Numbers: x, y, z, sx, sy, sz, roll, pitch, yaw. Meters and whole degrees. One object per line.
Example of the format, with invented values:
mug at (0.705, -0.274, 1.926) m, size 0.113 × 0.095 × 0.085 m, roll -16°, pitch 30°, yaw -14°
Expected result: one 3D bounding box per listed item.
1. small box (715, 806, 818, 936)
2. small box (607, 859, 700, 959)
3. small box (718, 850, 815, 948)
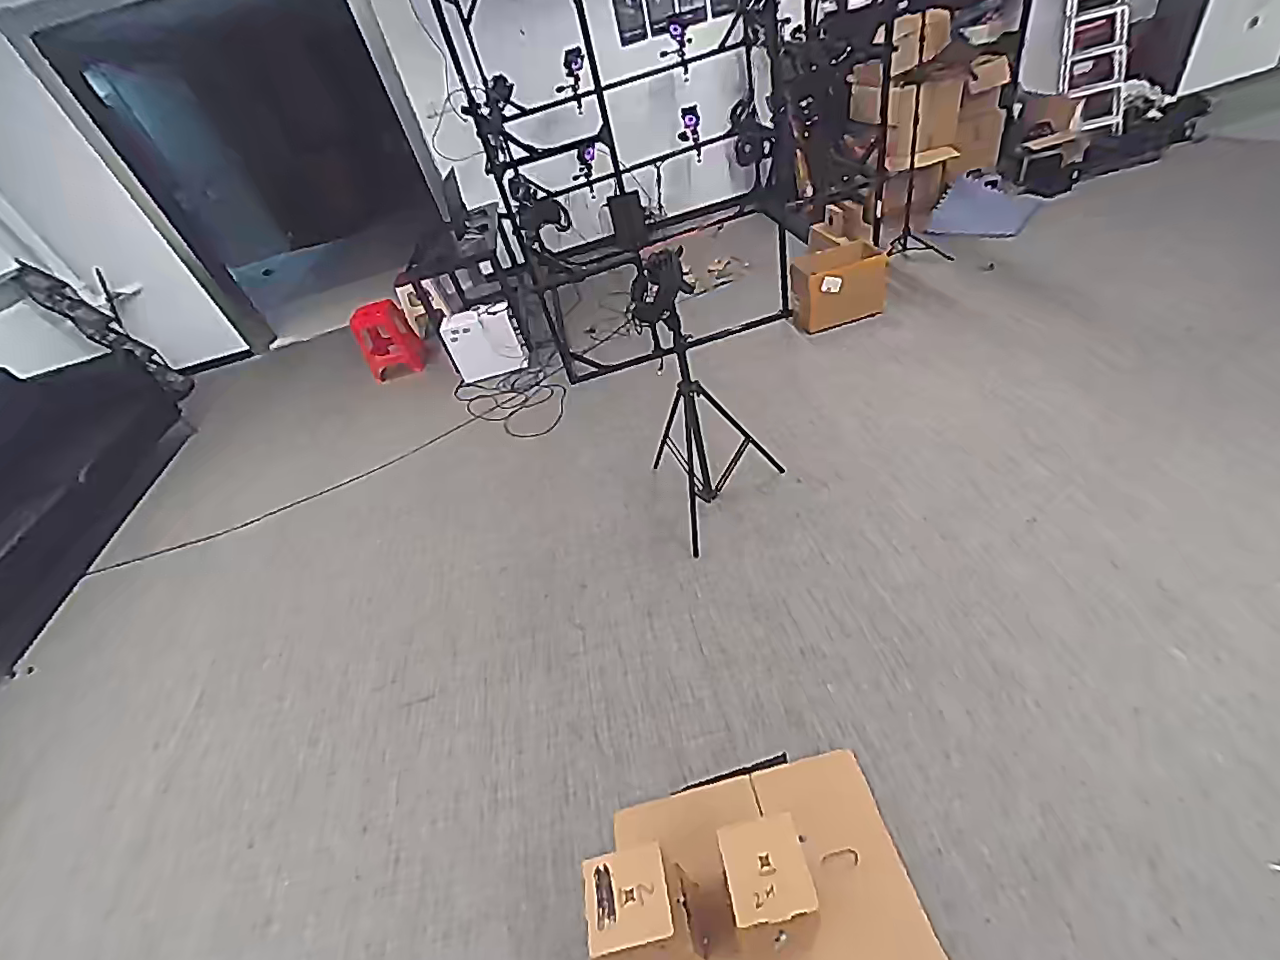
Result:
small box at (0.266, 0.832, 1.149) m, size 0.168 × 0.176 × 0.179 m, roll -15°, pitch 41°, yaw 2°
small box at (0.035, 1.022, 1.266) m, size 0.179 × 0.176 × 0.168 m, roll -17°, pitch 40°, yaw 2°
small box at (0.293, 0.956, 1.255) m, size 0.179 × 0.176 × 0.168 m, roll -15°, pitch 41°, yaw 2°
